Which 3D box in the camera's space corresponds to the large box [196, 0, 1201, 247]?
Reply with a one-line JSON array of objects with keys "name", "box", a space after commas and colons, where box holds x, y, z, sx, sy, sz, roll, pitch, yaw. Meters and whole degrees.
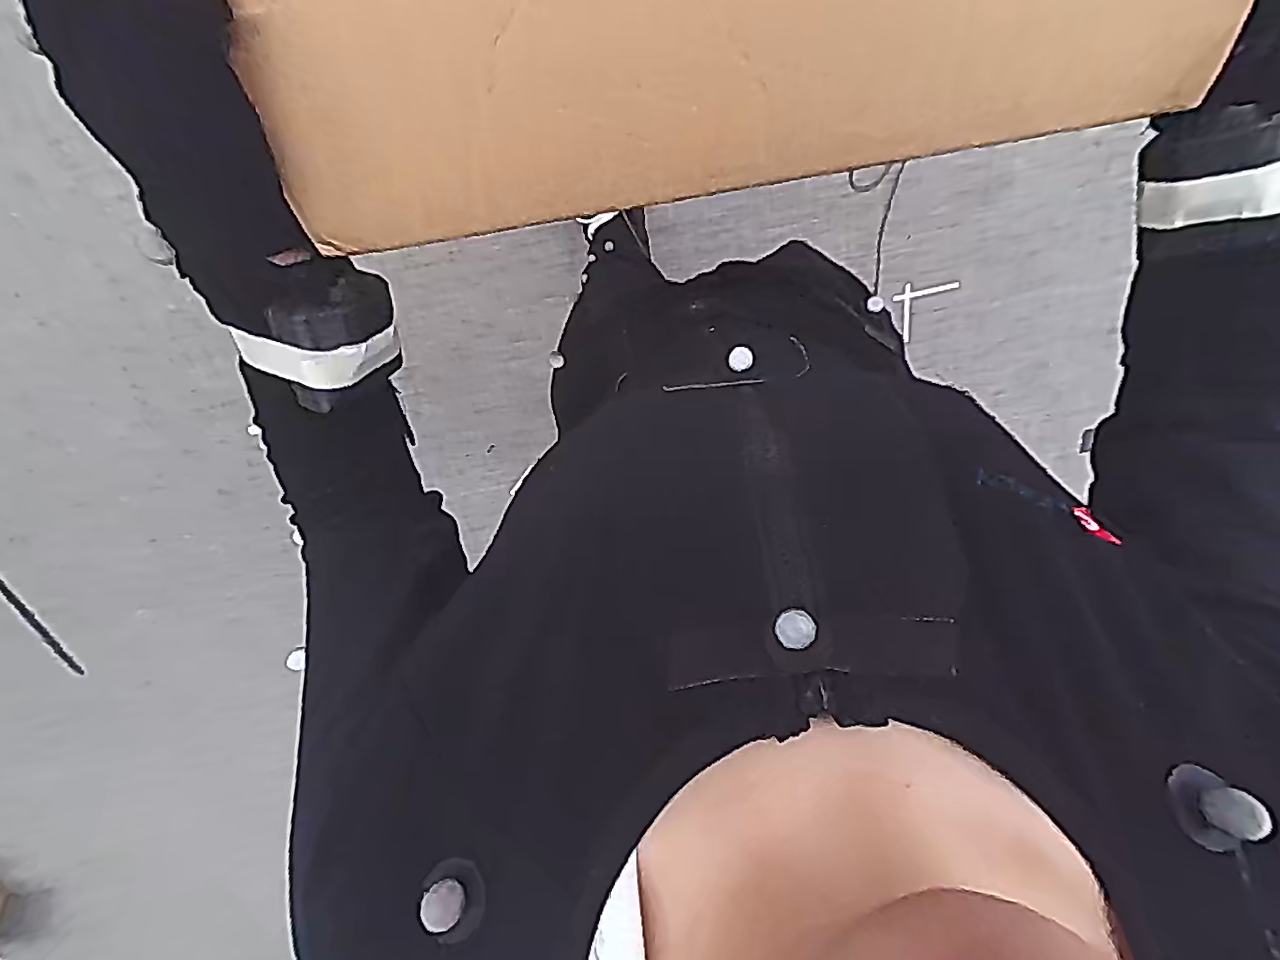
[{"name": "large box", "box": [0.013, -0.357, 0.251, 0.408, 0.320, 0.320, -8, 136, 2]}]
